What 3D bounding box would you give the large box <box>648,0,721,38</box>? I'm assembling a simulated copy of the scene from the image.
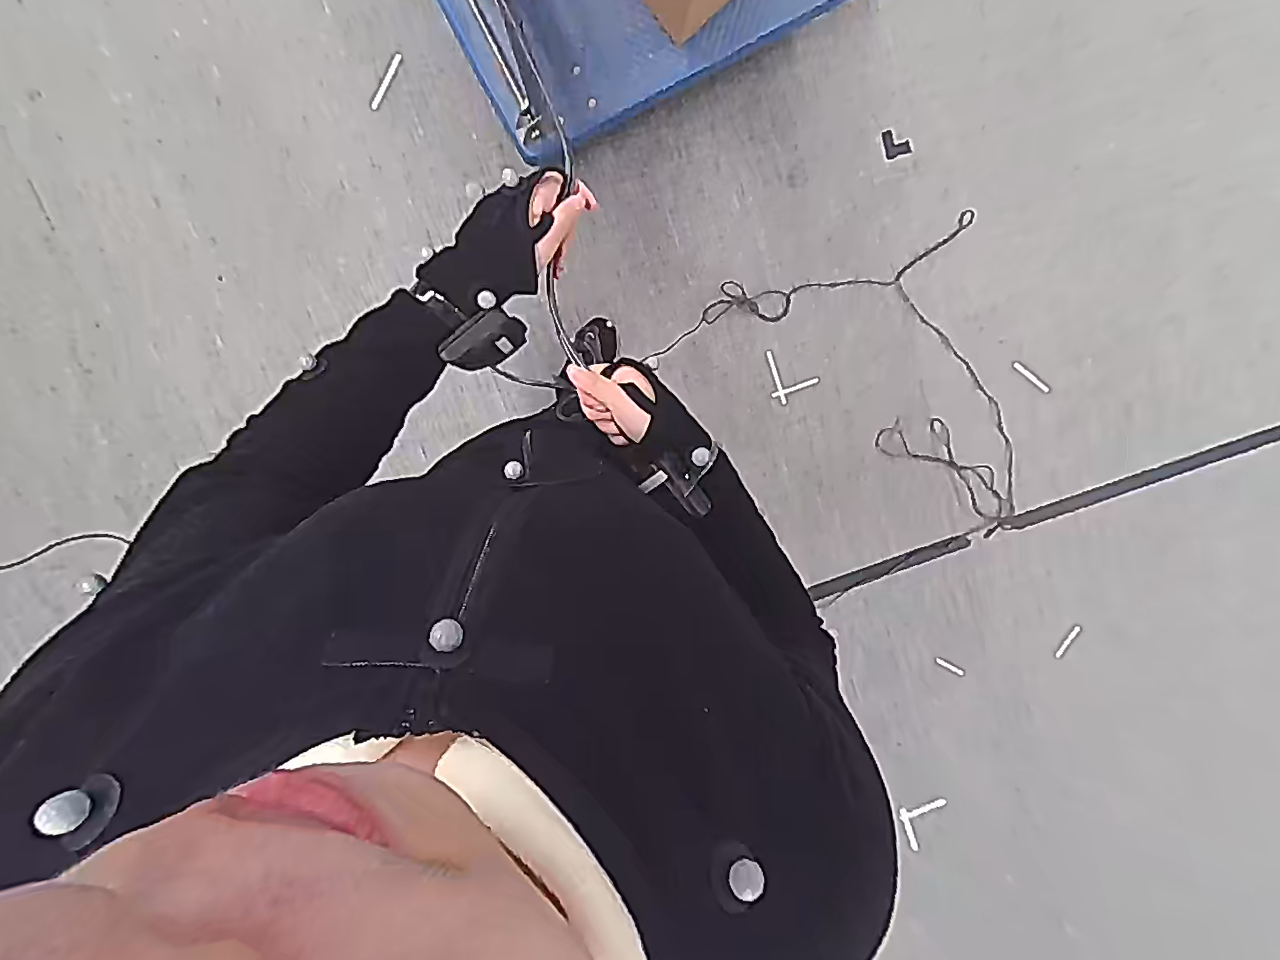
[{"bbox_3d":[0.076,-1.145,0.956,0.320,0.320,0.408,-42,103,4],"label":"large box"}]
